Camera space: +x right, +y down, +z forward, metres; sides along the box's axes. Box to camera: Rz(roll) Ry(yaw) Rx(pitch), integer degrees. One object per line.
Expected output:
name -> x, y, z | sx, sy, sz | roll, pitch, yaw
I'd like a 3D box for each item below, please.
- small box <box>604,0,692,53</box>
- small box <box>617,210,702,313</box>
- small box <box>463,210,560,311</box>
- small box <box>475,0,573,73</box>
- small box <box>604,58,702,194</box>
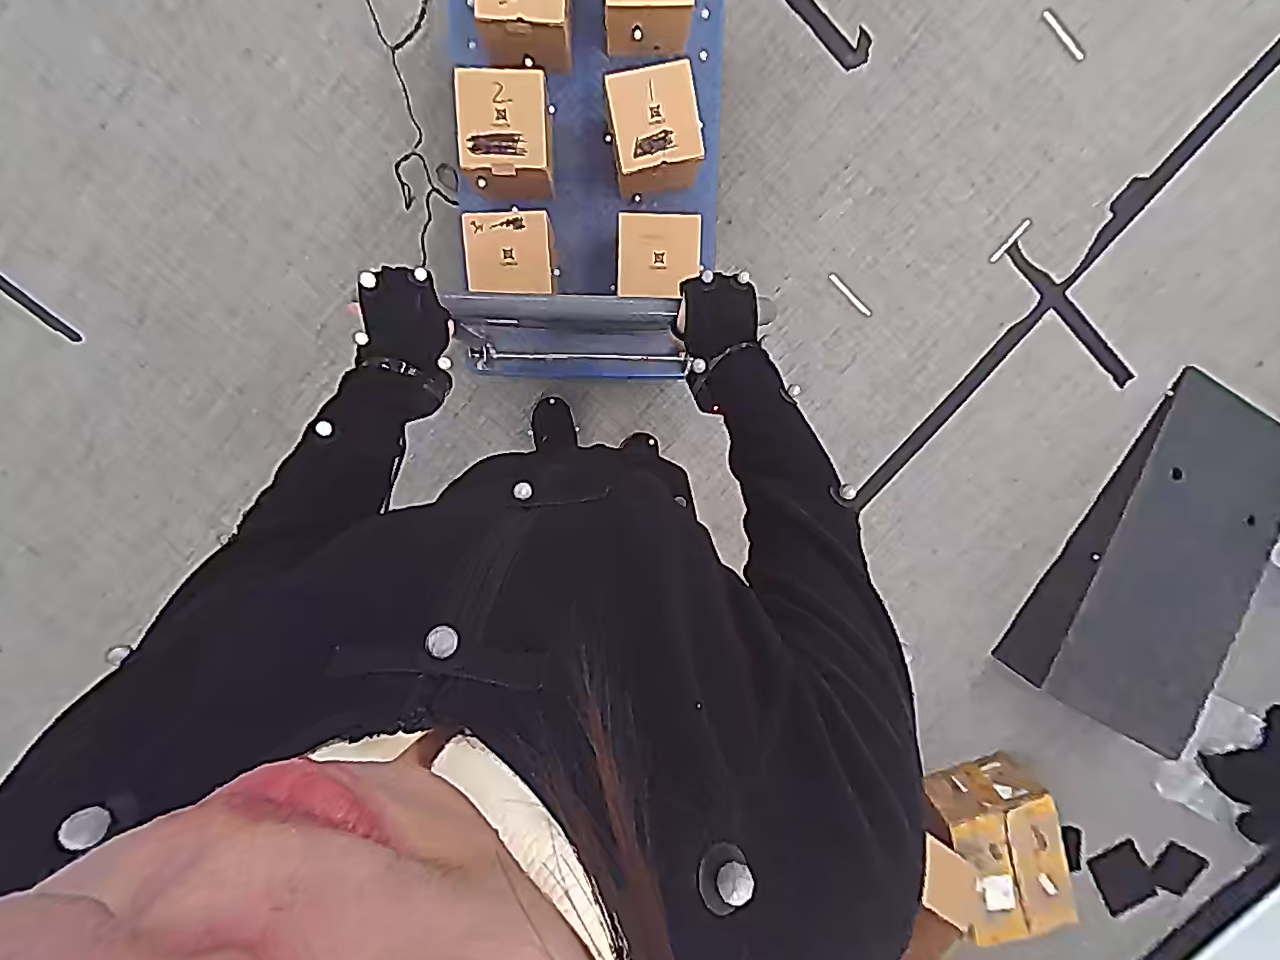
small box -> 0.012, -0.978, 1.061 | 0.168, 0.176, 0.179 | -2, 100, -2
small box -> 0.035, -0.457, 1.158 | 0.168, 0.176, 0.179 | 1, 100, -3
small box -> -0.263, -0.453, 1.142 | 0.168, 0.176, 0.179 | -3, 101, -3
small box -> -0.220, -0.943, 1.054 | 0.168, 0.176, 0.179 | 2, 101, -3
small box -> 0.025, -0.710, 1.110 | 0.168, 0.176, 0.179 | -11, 100, -1
